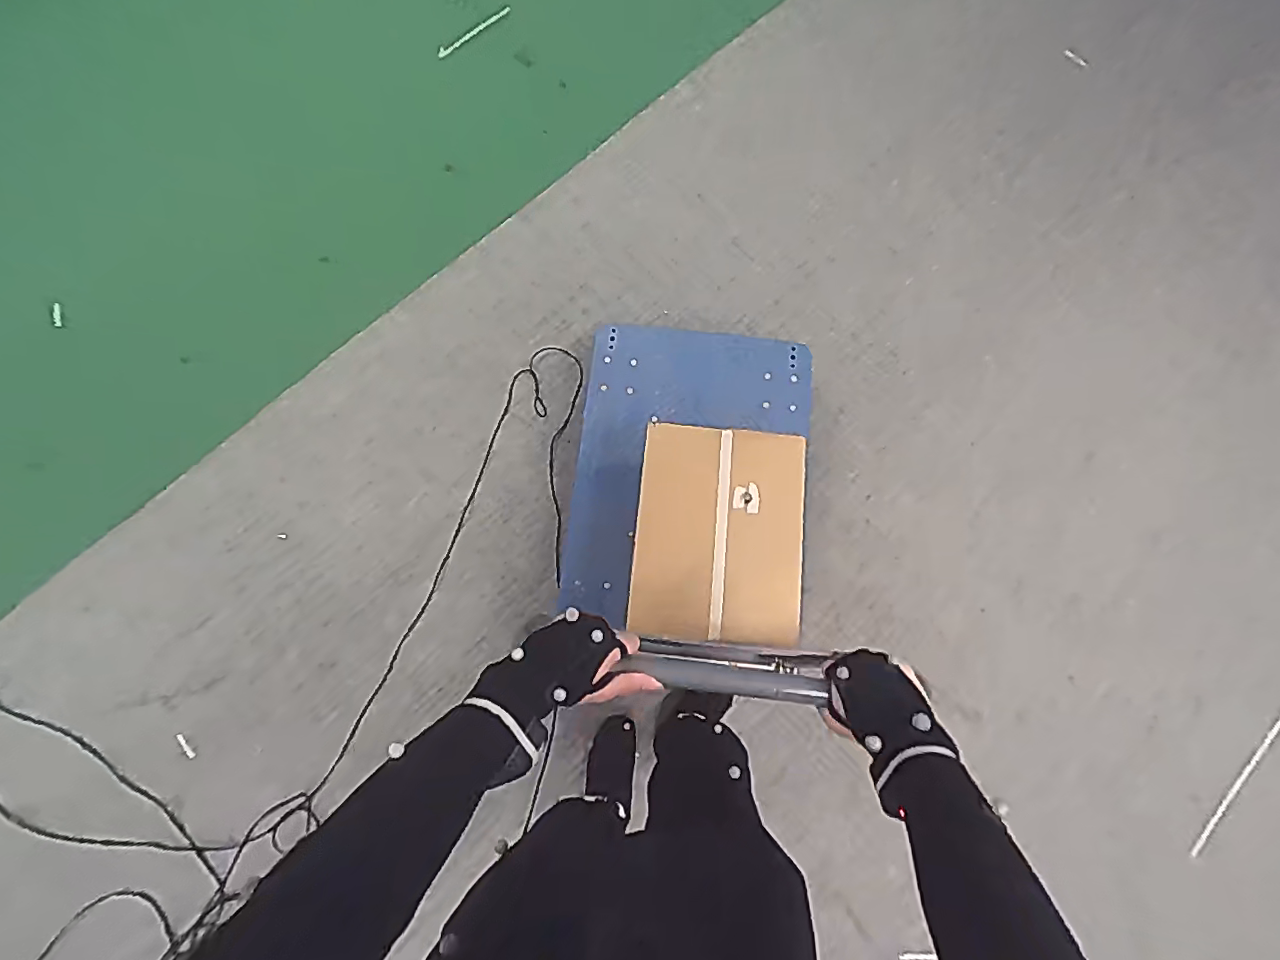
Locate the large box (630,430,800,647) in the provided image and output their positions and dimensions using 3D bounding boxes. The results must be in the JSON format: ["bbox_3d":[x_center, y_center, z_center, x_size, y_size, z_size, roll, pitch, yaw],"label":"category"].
[{"bbox_3d":[0.151,0.141,1.179,0.320,0.320,0.408,6,75,1],"label":"large box"}]
